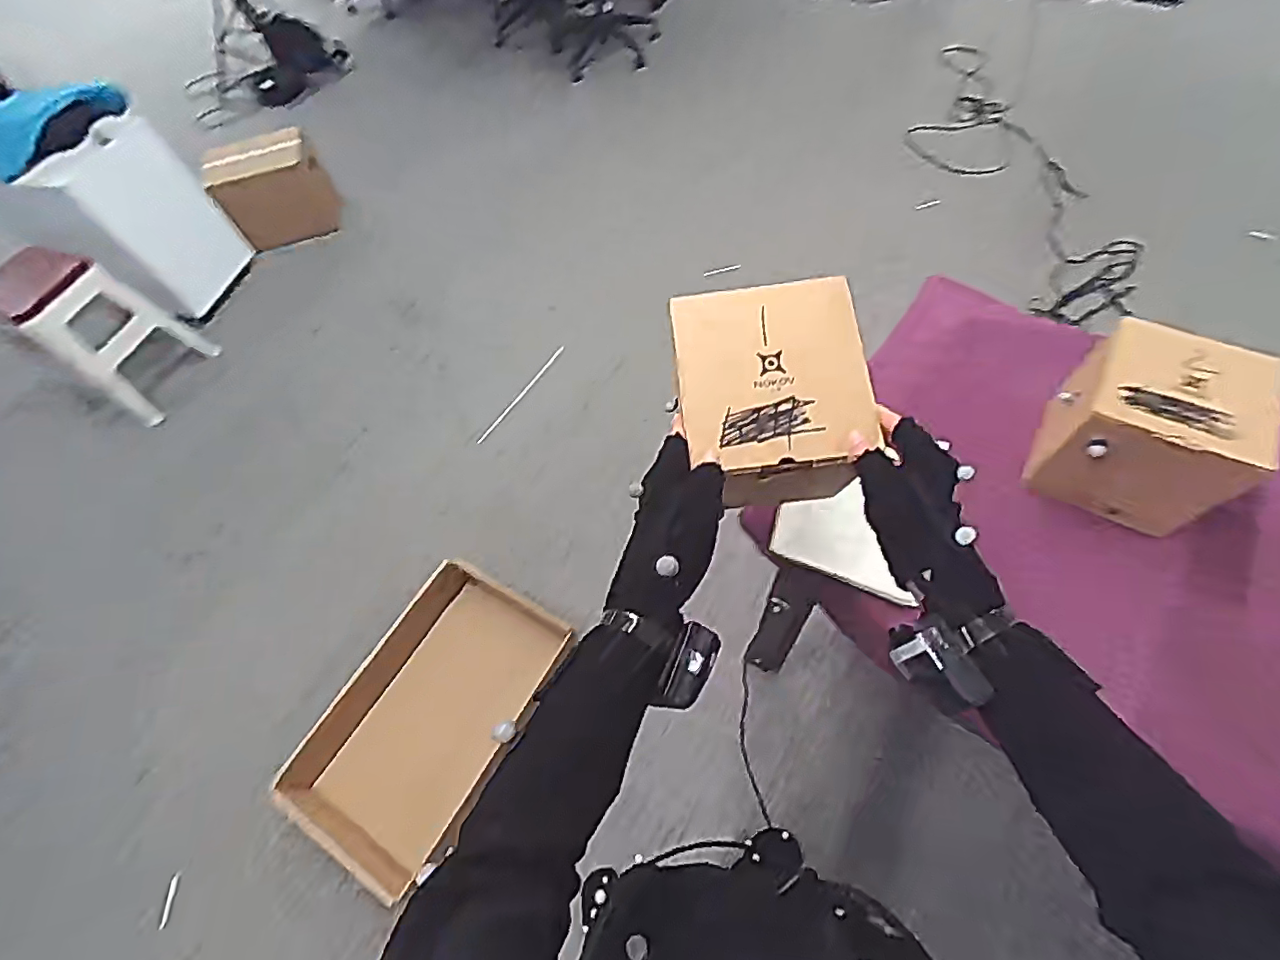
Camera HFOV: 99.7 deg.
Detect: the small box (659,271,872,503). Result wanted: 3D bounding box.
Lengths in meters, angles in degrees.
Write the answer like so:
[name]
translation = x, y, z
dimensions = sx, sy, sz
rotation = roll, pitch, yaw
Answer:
[small box]
translation = 0.113, -0.078, 0.551
dimensions = 0.168, 0.176, 0.179
rotation = -7, 75, 3
